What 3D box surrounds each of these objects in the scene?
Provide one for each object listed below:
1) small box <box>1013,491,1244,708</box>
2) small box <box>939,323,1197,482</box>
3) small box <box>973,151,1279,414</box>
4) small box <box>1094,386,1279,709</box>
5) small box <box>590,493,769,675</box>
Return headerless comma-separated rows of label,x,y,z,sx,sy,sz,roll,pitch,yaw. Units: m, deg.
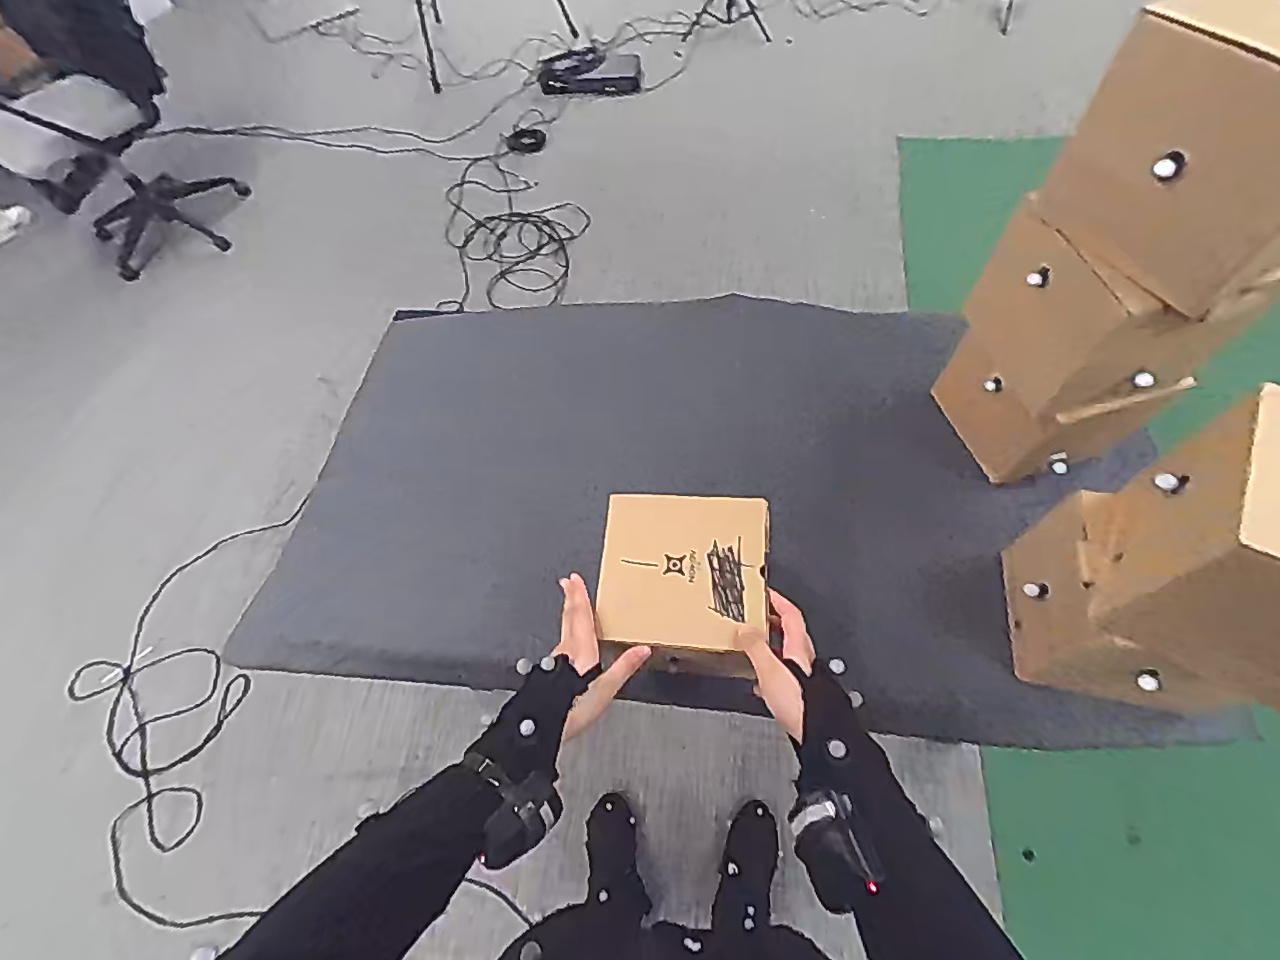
small box,0.528,0.132,0.576,0.179,0.176,0.168,8,61,11
small box,0.535,-0.124,0.713,0.168,0.176,0.179,-17,64,0
small box,0.495,-0.199,0.571,0.168,0.176,0.179,-14,62,3
small box,0.516,0.064,0.427,0.179,0.176,0.168,29,66,20
small box,0.054,0.127,0.631,0.179,0.176,0.168,2,63,10
